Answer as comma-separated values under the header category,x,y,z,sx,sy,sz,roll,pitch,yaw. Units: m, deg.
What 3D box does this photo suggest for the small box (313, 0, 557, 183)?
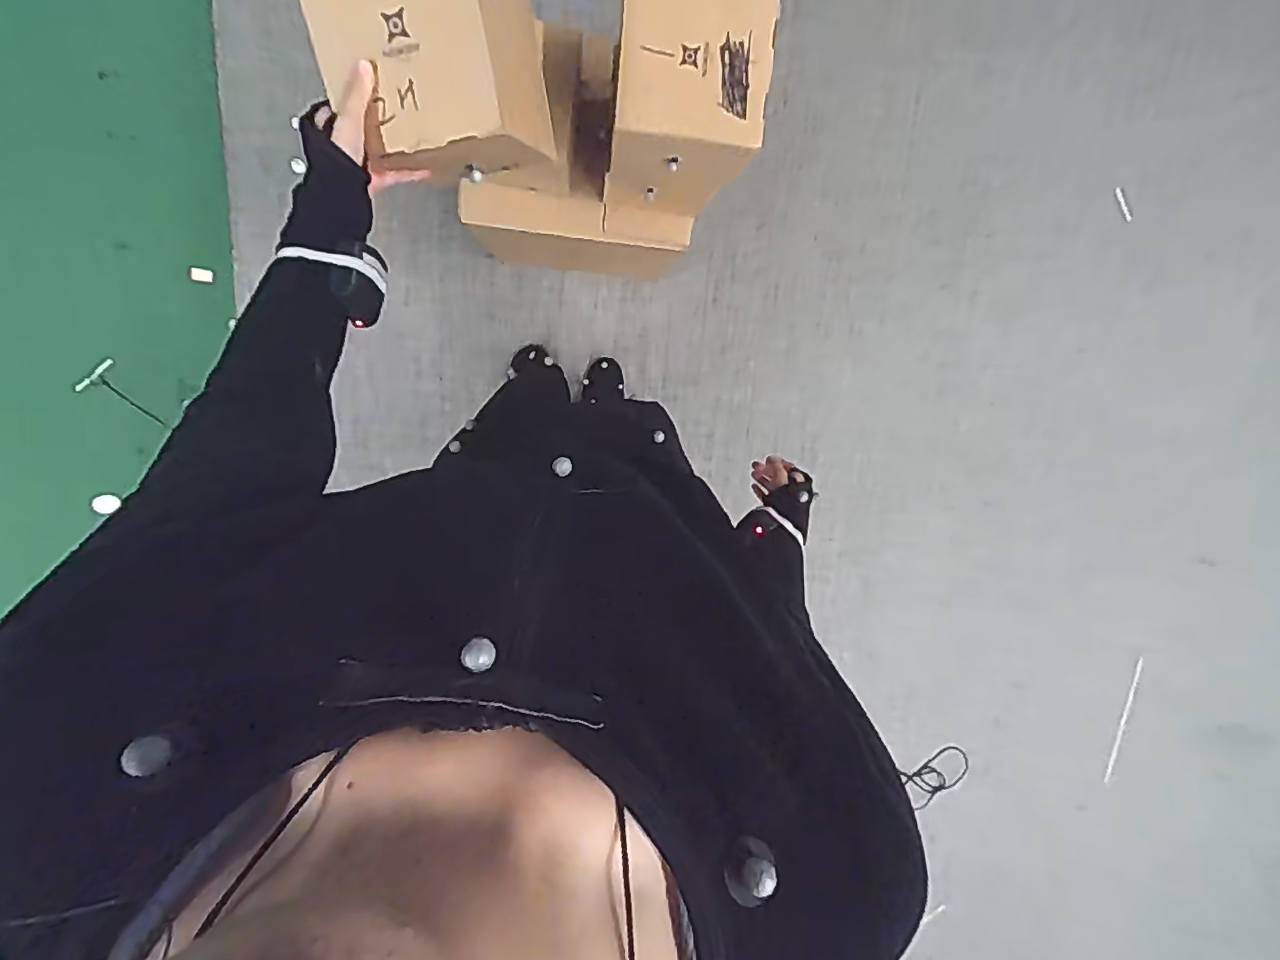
category,x,y,z,sx,sy,sz,roll,pitch,yaw
small box,-0.196,-0.426,0.558,0.168,0.176,0.179,-3,112,11

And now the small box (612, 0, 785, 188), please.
category,x,y,z,sx,sy,sz,roll,pitch,yaw
small box,0.061,-0.490,0.689,0.179,0.176,0.168,6,103,-5
